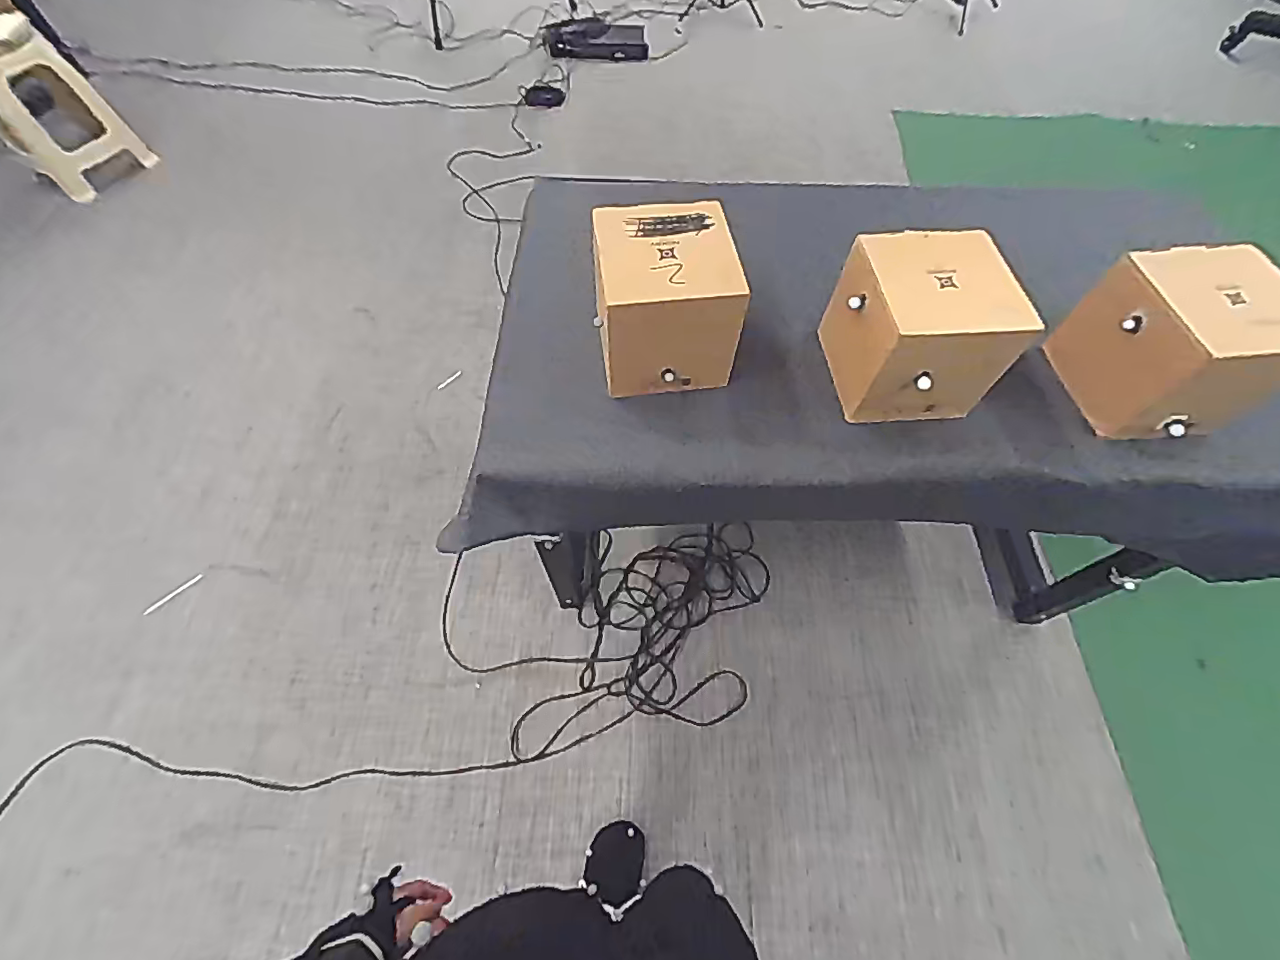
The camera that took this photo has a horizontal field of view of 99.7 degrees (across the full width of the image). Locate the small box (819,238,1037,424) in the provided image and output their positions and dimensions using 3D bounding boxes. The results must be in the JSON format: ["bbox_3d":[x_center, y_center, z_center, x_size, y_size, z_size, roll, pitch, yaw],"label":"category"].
[{"bbox_3d":[0.352,-0.184,0.703,0.168,0.176,0.179,-3,59,-3],"label":"small box"}]

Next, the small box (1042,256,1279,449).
[{"bbox_3d":[0.677,-0.160,0.697,0.168,0.176,0.179,-5,60,-3],"label":"small box"}]
